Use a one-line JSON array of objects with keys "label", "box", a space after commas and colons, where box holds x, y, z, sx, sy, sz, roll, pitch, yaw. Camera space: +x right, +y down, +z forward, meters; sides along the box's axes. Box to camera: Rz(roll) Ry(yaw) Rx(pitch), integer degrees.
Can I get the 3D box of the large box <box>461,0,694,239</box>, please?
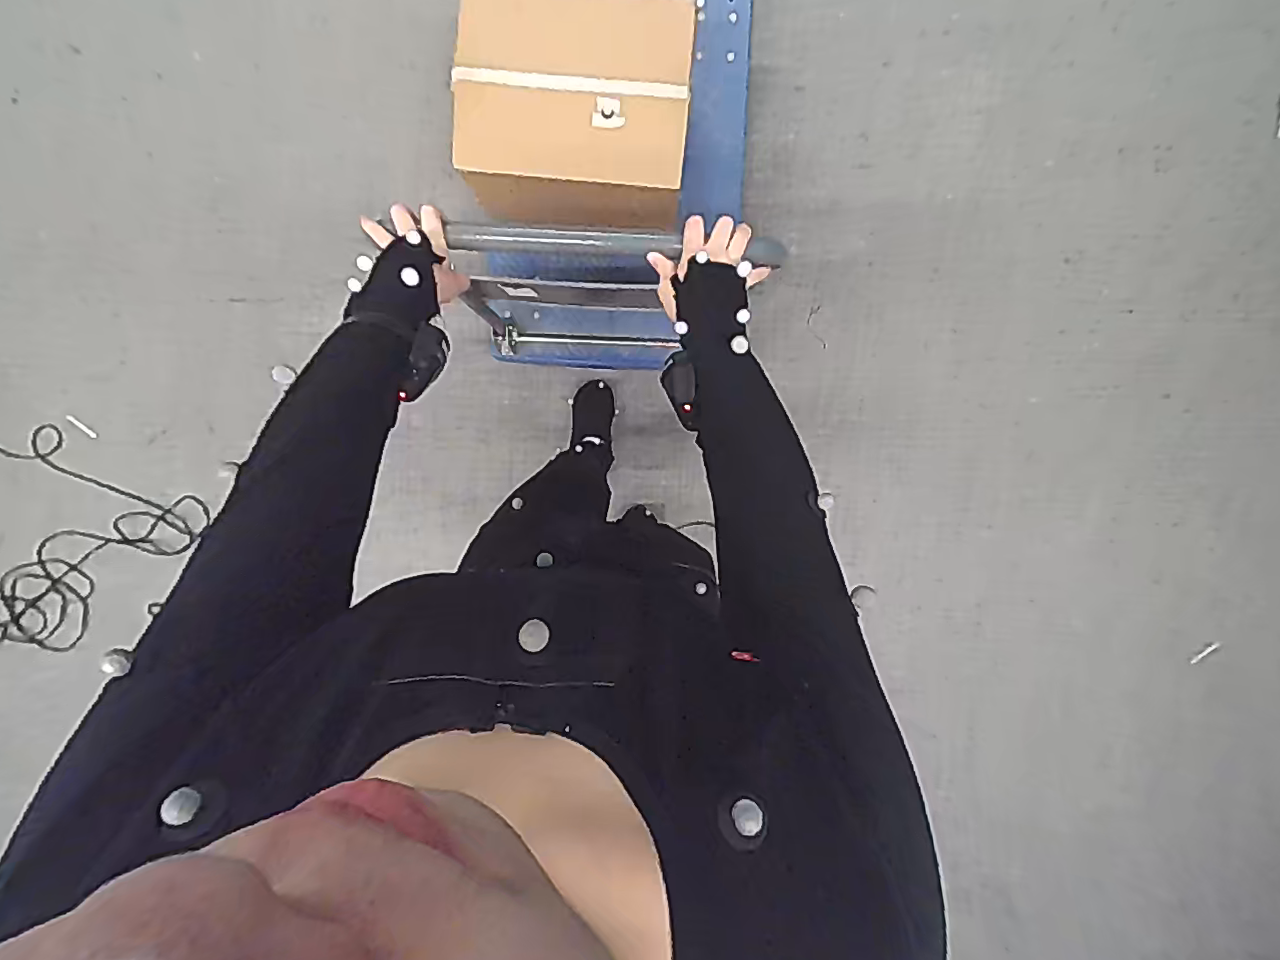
[{"label": "large box", "box": [-0.116, -0.711, 1.098, 0.408, 0.320, 0.320, 5, 96, -1]}]
